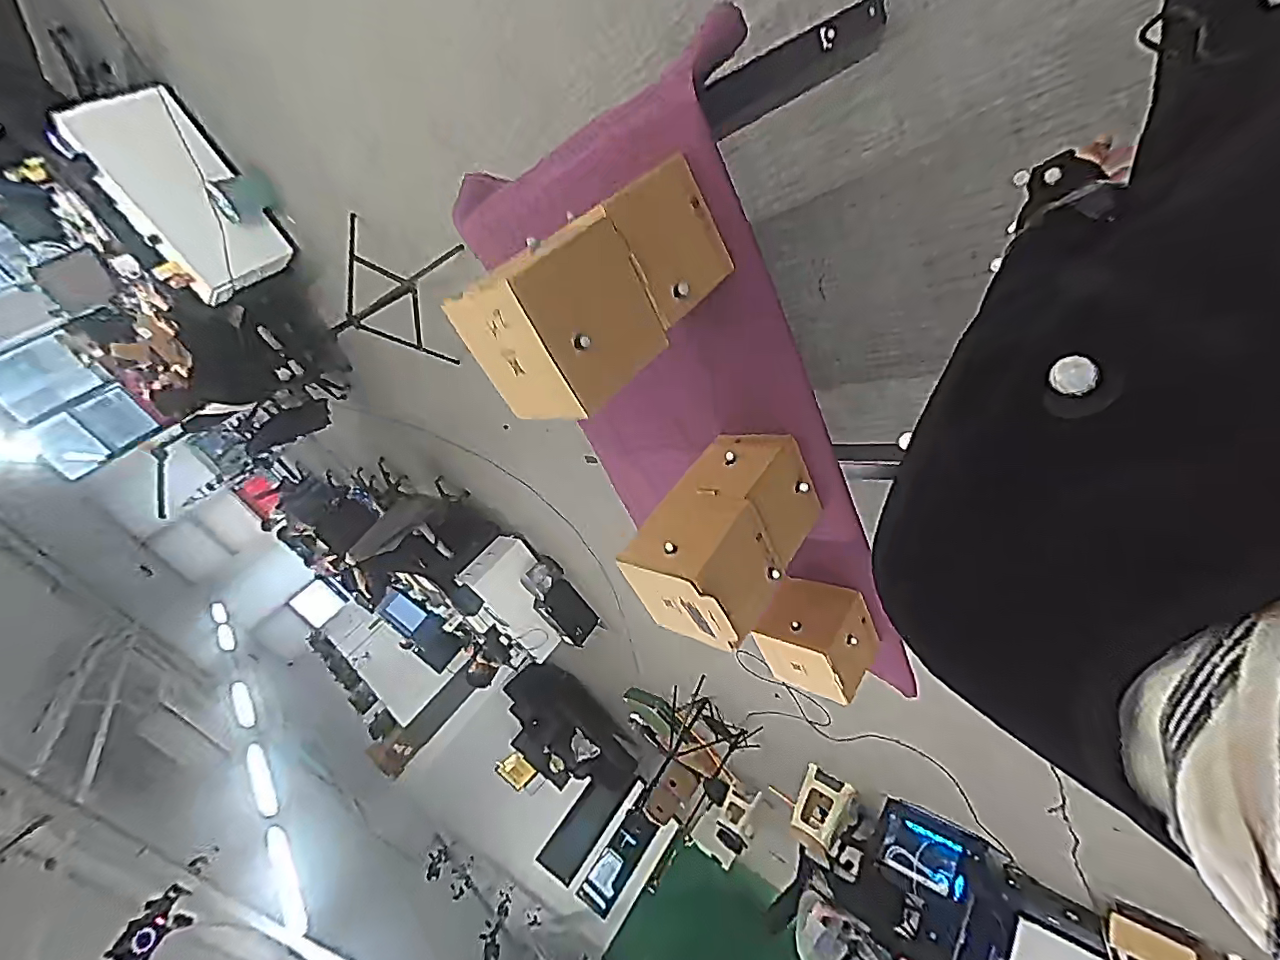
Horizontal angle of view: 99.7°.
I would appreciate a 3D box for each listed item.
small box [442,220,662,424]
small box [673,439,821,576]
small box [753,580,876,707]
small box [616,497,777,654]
[{"bbox_3d":[-0.101,-0.189,0.677,0.168,0.176,0.179,6,136,47],"label":"small box"},{"bbox_3d":[0.195,0.040,0.963,0.168,0.176,0.179,4,133,47],"label":"small box"},{"bbox_3d":[0.374,0.331,1.134,0.179,0.176,0.168,5,133,49],"label":"small box"},{"bbox_3d":[0.101,0.144,0.876,0.179,0.176,0.168,6,135,48],"label":"small box"}]
